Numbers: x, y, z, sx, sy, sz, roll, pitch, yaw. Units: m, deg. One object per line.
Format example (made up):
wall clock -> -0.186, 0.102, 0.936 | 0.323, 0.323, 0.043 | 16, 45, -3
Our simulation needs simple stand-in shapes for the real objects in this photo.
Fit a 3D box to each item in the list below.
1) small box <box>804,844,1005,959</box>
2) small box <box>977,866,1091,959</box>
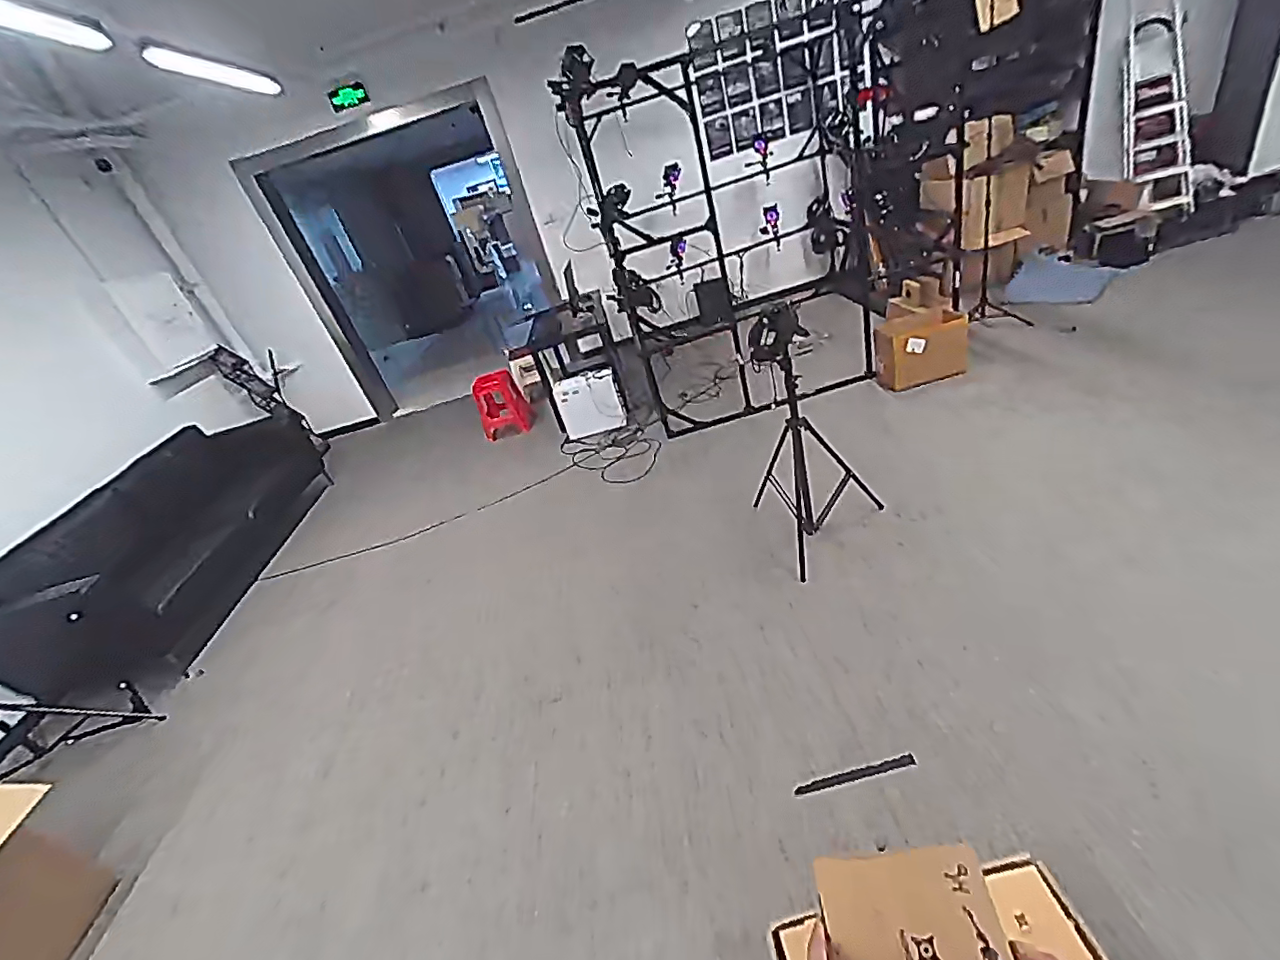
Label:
small box -> 0.299, 0.522, 0.616 | 0.179, 0.176, 0.168 | -13, 54, 12
small box -> 0.780, 0.947, 1.116 | 0.168, 0.176, 0.179 | -17, 33, 4
